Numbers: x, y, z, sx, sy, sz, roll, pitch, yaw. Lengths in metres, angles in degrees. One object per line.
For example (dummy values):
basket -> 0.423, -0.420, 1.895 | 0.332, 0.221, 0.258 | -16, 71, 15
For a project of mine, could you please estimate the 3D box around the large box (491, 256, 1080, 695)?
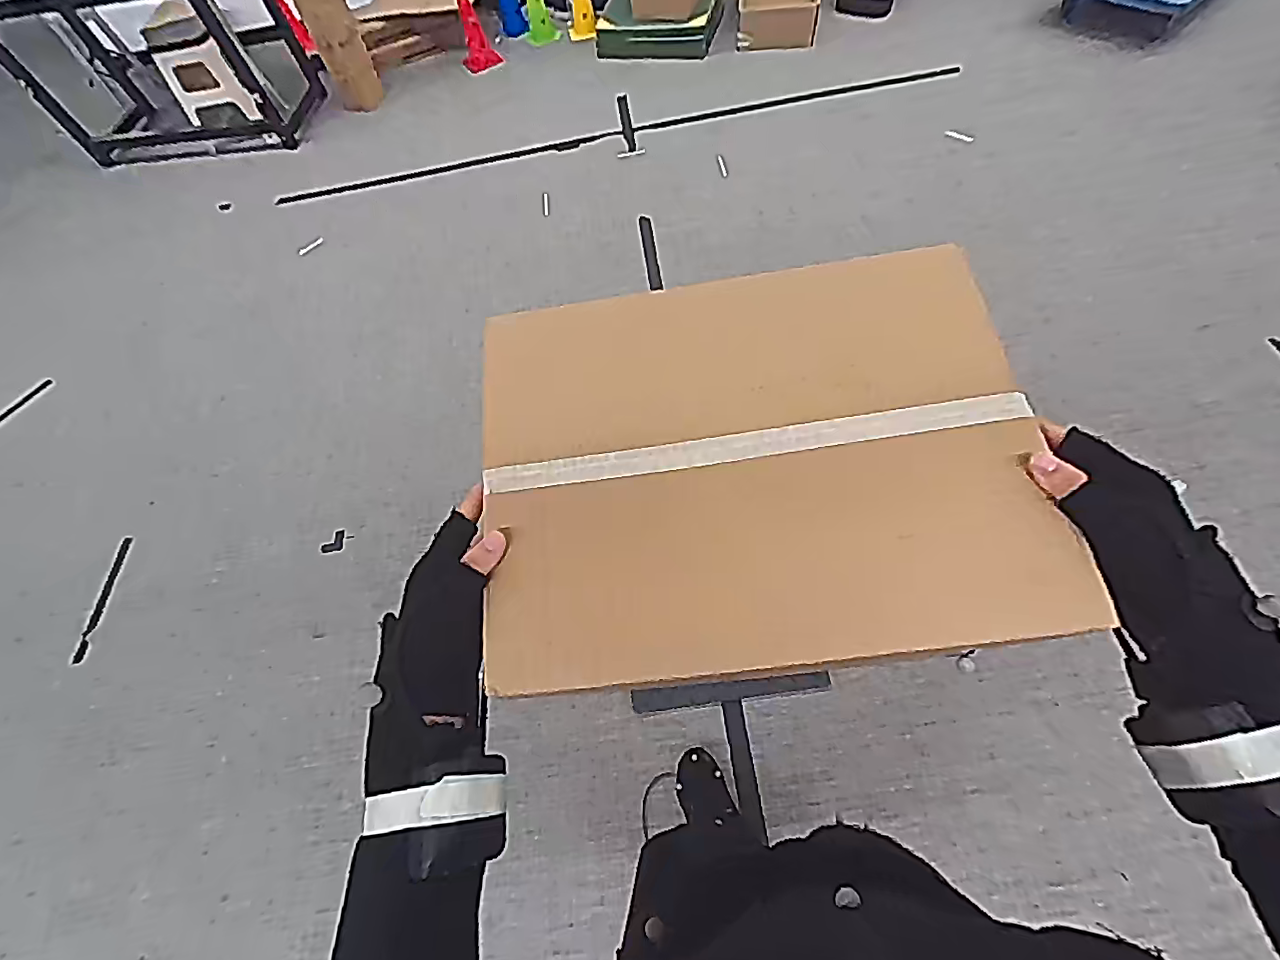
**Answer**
large box -> 0.098, 0.029, 0.557 | 0.408, 0.320, 0.320 | -8, 68, 4

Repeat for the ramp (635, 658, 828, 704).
ramp -> 0.164, 0.061, 1.513 | 0.509, 0.206, 0.991 | -10, 61, 1
